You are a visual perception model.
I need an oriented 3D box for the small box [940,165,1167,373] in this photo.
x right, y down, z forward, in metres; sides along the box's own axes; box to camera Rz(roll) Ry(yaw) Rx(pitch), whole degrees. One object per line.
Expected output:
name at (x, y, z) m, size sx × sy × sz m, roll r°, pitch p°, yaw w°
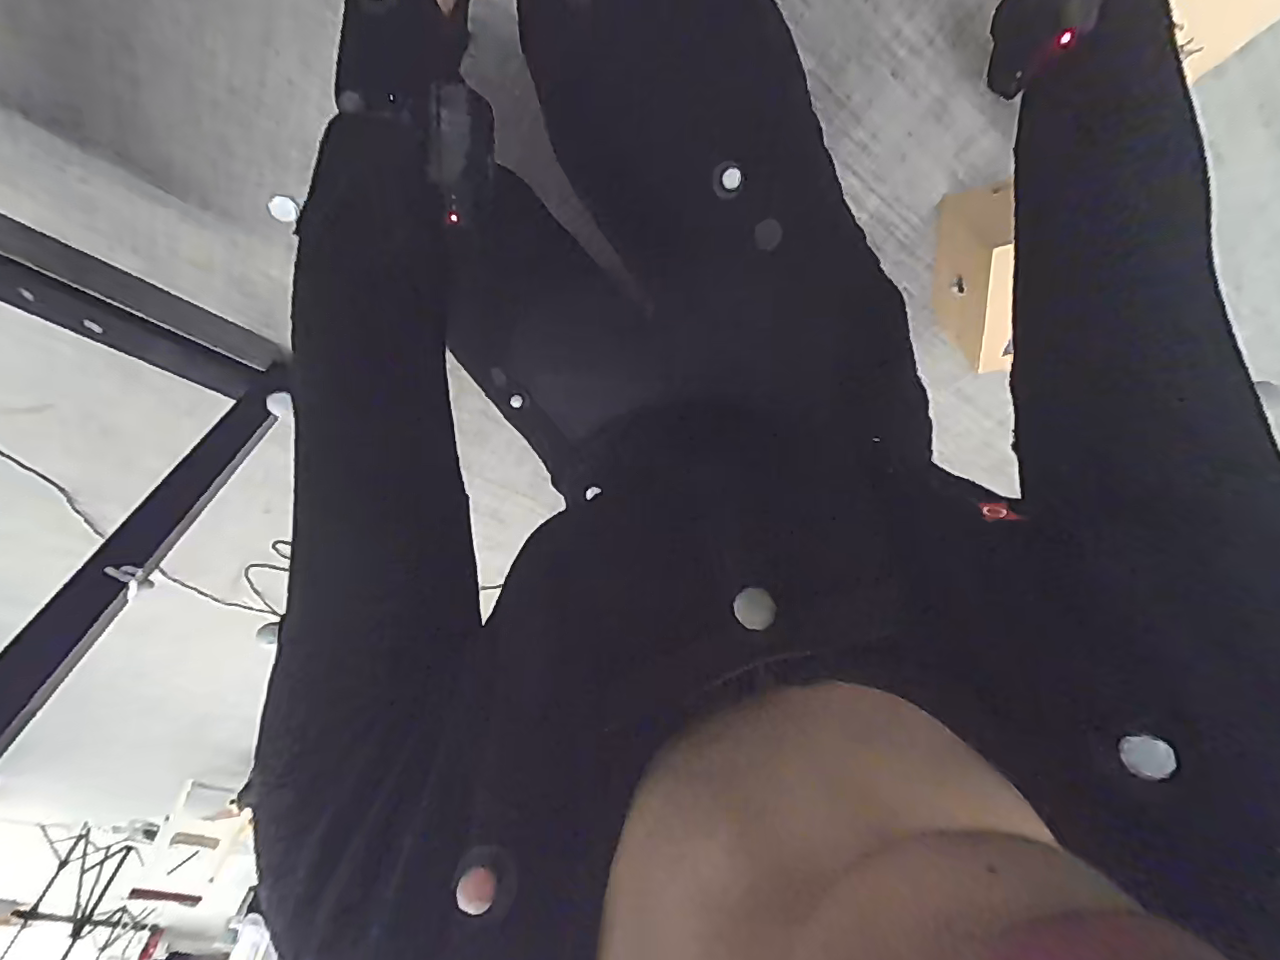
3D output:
small box at (0.504, -0.269, 0.696) m, size 0.168 × 0.176 × 0.179 m, roll -11°, pitch 132°, yaw 14°
